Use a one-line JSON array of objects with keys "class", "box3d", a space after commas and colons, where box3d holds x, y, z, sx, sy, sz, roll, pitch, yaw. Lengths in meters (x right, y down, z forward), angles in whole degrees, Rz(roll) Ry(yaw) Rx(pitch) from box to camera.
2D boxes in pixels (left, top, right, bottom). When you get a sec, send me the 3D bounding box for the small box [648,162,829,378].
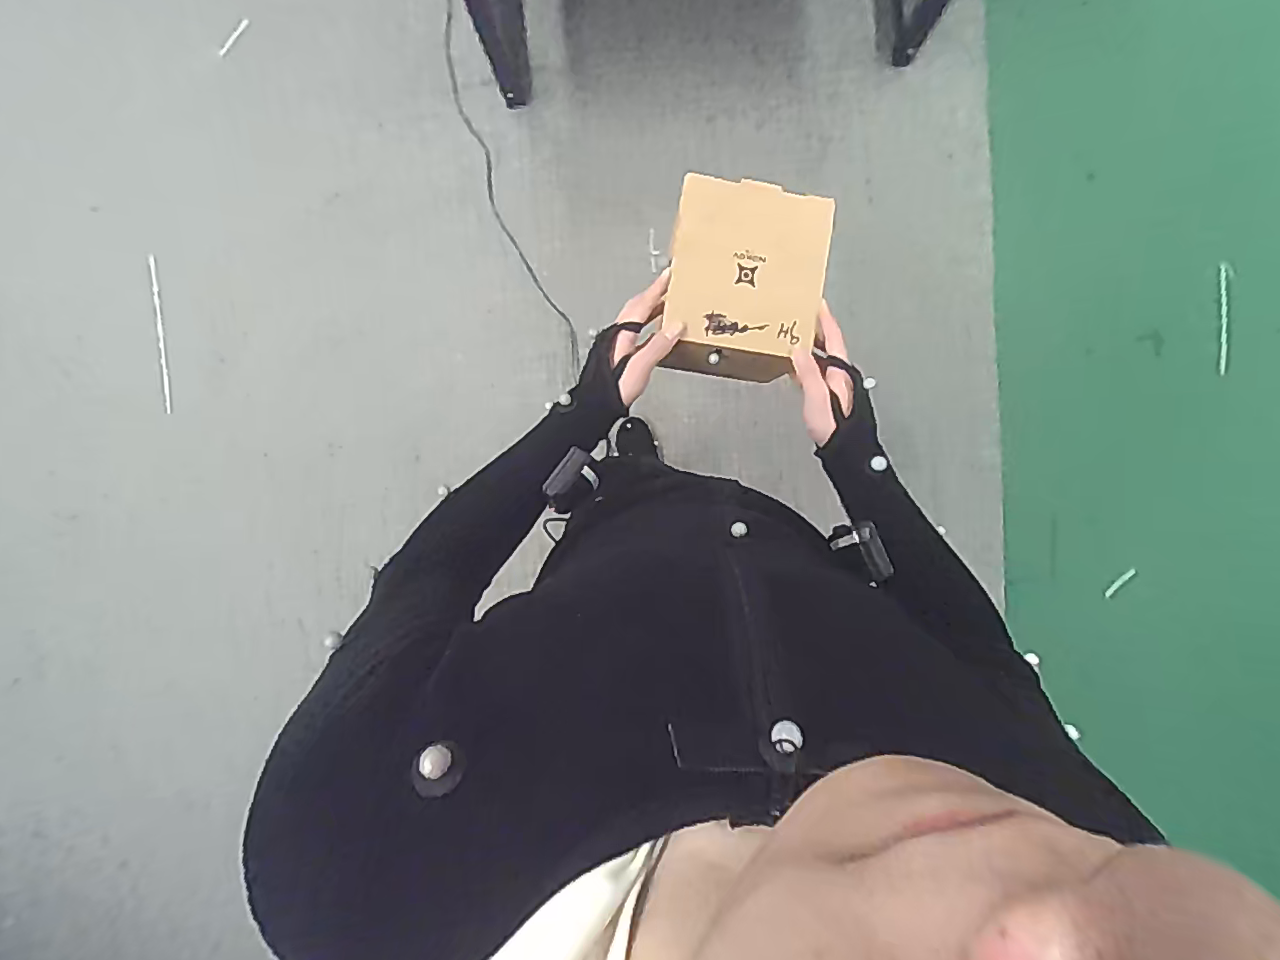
[{"class": "small box", "box3d": [0.102, -0.232, 0.640, 0.168, 0.176, 0.179, 8, 91, -2]}]
